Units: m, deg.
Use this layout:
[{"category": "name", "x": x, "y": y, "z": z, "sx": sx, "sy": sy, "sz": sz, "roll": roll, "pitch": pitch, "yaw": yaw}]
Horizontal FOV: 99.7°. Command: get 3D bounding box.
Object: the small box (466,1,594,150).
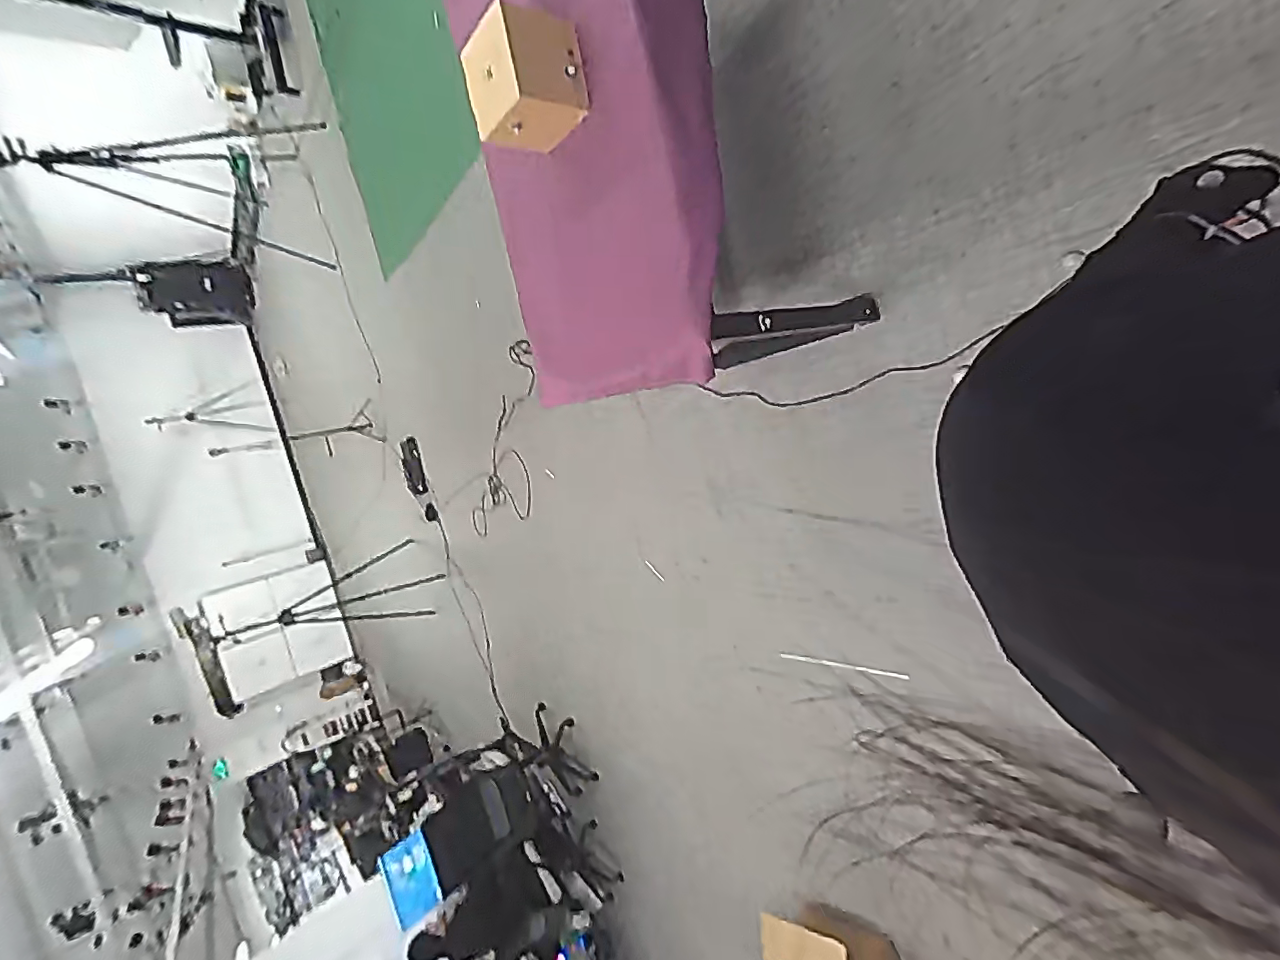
[{"category": "small box", "x": -0.217, "y": -0.783, "z": 1.073, "sx": 0.179, "sy": 0.176, "sz": 0.168, "roll": 0, "pitch": 106, "yaw": 50}]
